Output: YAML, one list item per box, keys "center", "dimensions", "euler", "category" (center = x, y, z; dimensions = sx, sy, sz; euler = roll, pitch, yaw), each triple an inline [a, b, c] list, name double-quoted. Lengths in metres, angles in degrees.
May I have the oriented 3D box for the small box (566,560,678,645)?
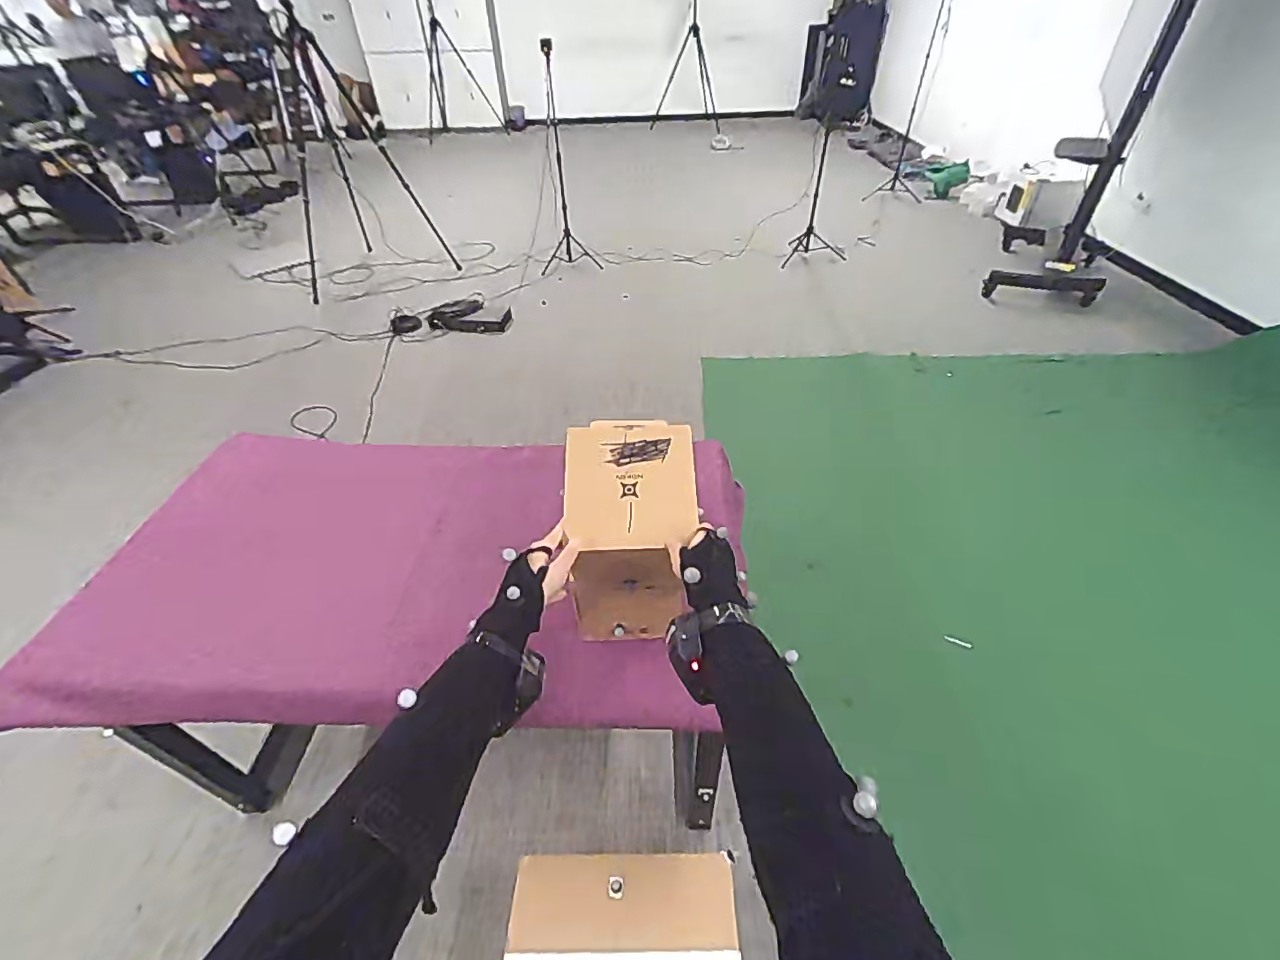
- center: [-0.024, 0.150, 0.896]
  dimensions: [0.168, 0.176, 0.179]
  euler: [-3, 41, 1]
  category: "small box"

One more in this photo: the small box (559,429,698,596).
- center: [-0.013, 0.048, 0.739]
  dimensions: [0.168, 0.176, 0.179]
  euler: [-2, 61, 1]
  category: "small box"
